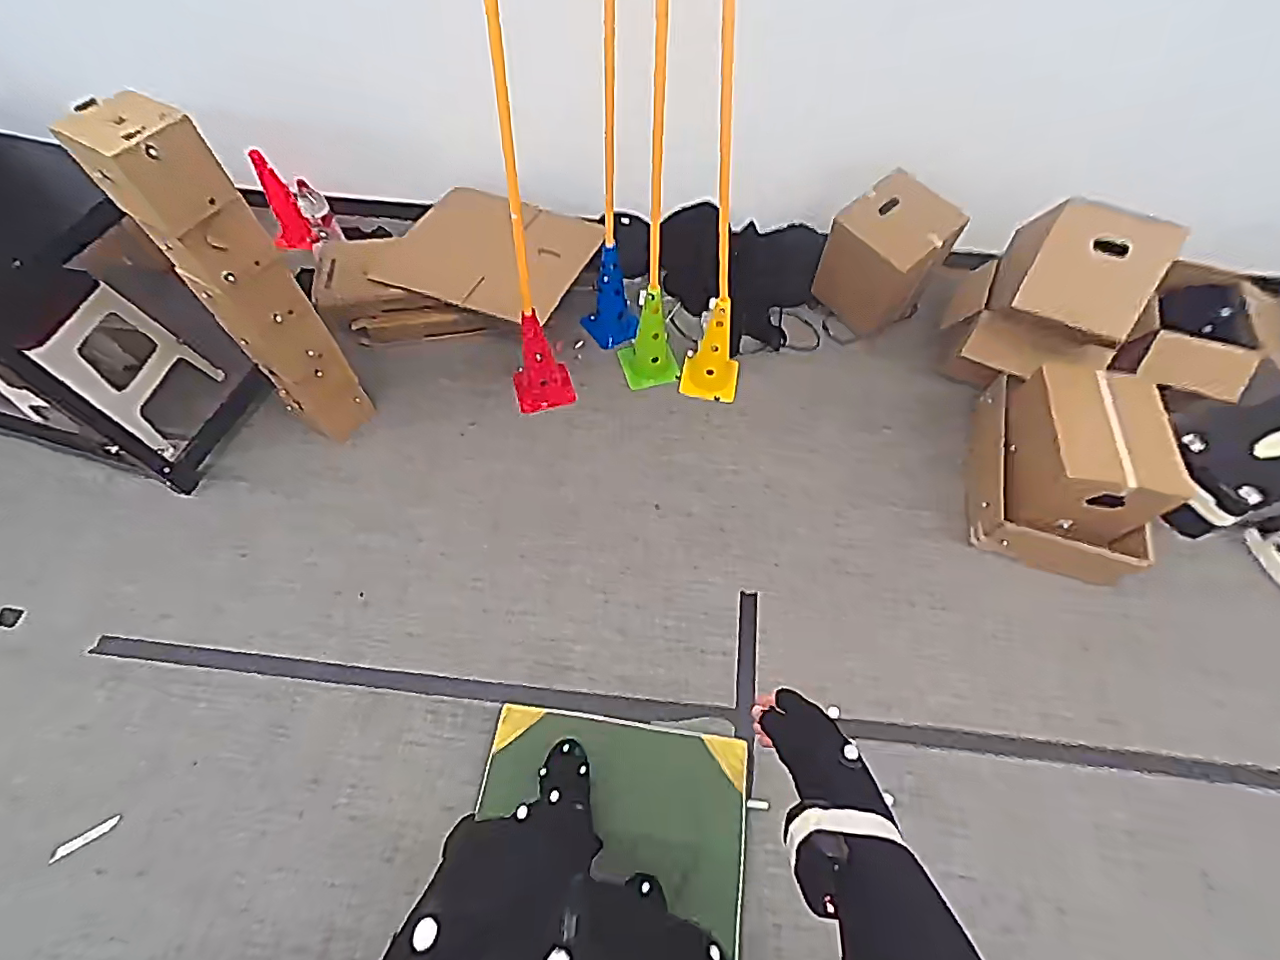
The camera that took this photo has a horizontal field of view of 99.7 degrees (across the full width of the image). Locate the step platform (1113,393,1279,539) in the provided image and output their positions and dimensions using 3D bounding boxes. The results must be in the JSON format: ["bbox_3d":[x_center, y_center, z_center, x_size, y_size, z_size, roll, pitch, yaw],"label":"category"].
[{"bbox_3d":[1.940,-0.059,1.751,0.684,0.204,0.286,-19,62,-12],"label":"step platform"}]
